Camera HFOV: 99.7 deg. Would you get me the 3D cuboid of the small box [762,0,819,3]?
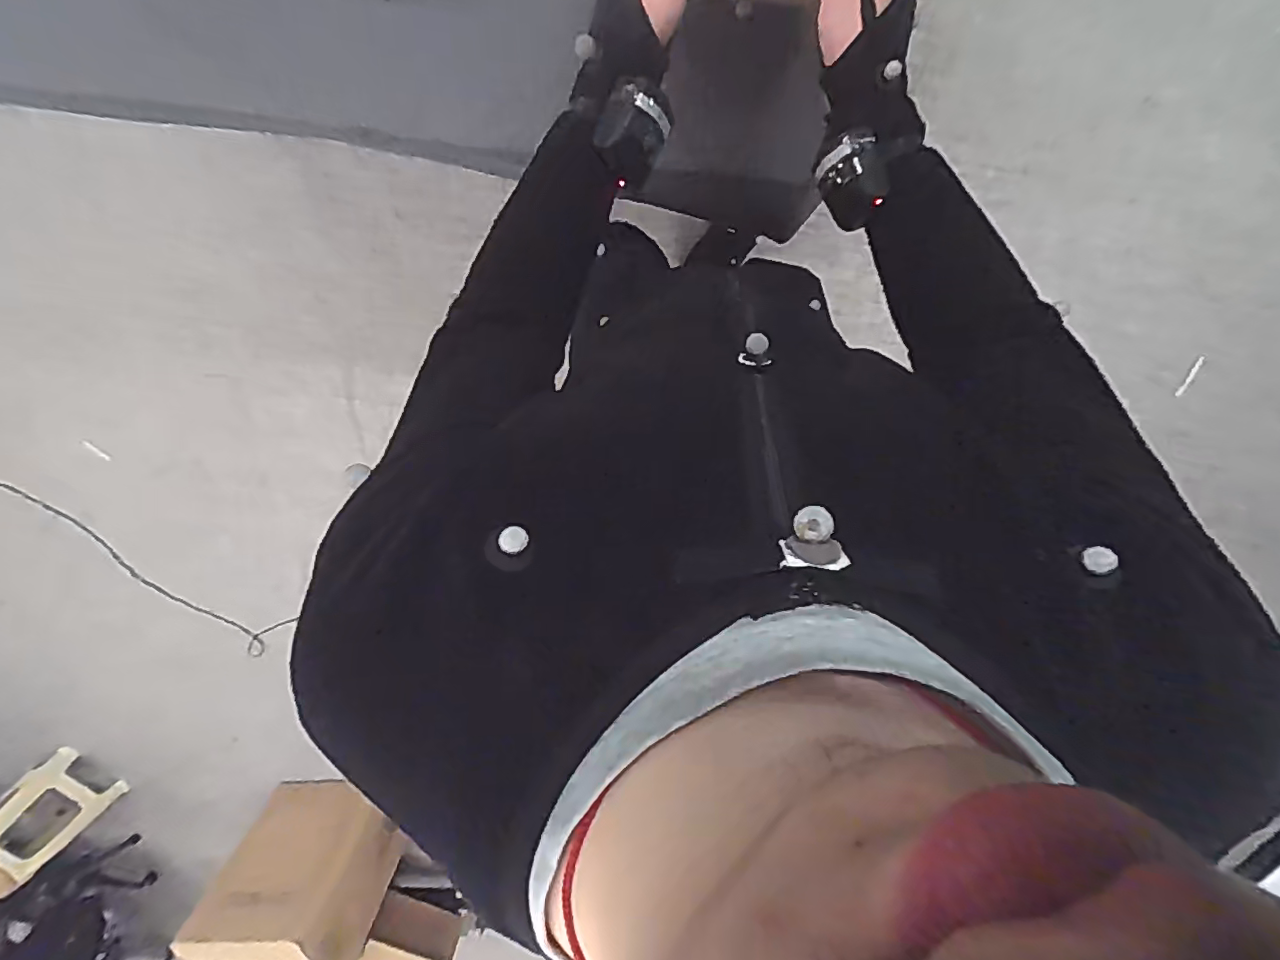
[{"bbox_3d":[0.114,-0.504,0.427,0.179,0.176,0.168,4,124,-3],"label":"small box"}]
